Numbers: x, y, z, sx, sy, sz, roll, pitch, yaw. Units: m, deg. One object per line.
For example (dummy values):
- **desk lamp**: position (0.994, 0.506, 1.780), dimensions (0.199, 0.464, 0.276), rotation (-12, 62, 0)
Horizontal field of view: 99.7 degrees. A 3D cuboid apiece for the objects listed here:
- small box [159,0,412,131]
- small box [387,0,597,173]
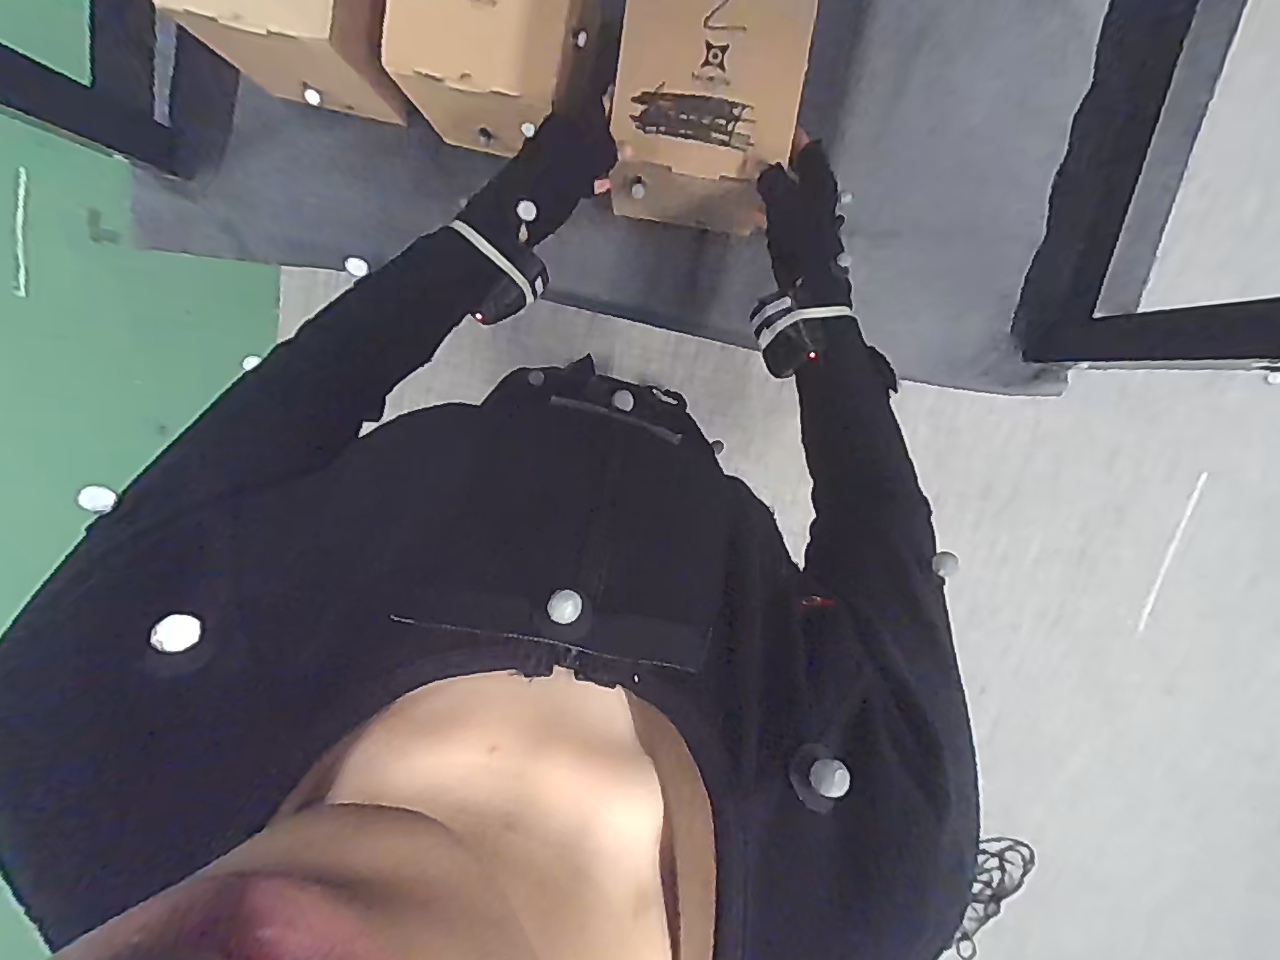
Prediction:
- **small box**: position (-0.344, -0.510, 0.564), dimensions (0.168, 0.176, 0.179), rotation (12, 101, -2)
- **small box**: position (-0.142, -0.463, 0.575), dimensions (0.168, 0.176, 0.179), rotation (12, 101, -3)
